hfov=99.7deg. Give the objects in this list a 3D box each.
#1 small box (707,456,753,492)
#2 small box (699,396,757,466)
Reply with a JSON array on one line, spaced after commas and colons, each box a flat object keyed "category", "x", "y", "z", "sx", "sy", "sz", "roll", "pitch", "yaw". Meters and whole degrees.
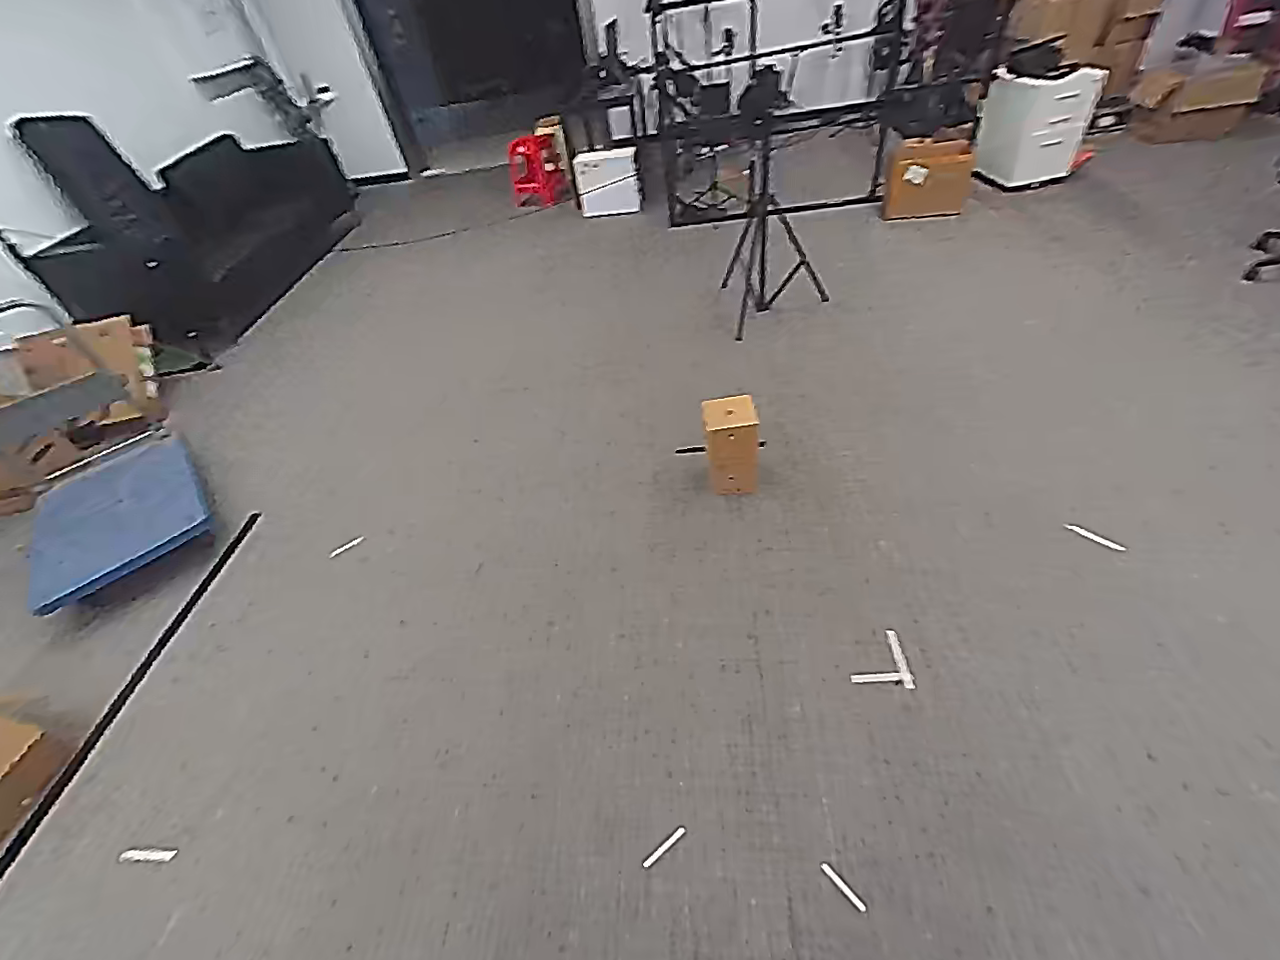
[{"category": "small box", "x": 0.339, "y": -0.065, "z": 2.035, "sx": 0.168, "sy": 0.176, "sz": 0.179, "roll": -2, "pitch": 45, "yaw": 9}, {"category": "small box", "x": 0.309, "y": -0.172, "z": 1.915, "sx": 0.179, "sy": 0.176, "sz": 0.168, "roll": -9, "pitch": 45, "yaw": 4}]
